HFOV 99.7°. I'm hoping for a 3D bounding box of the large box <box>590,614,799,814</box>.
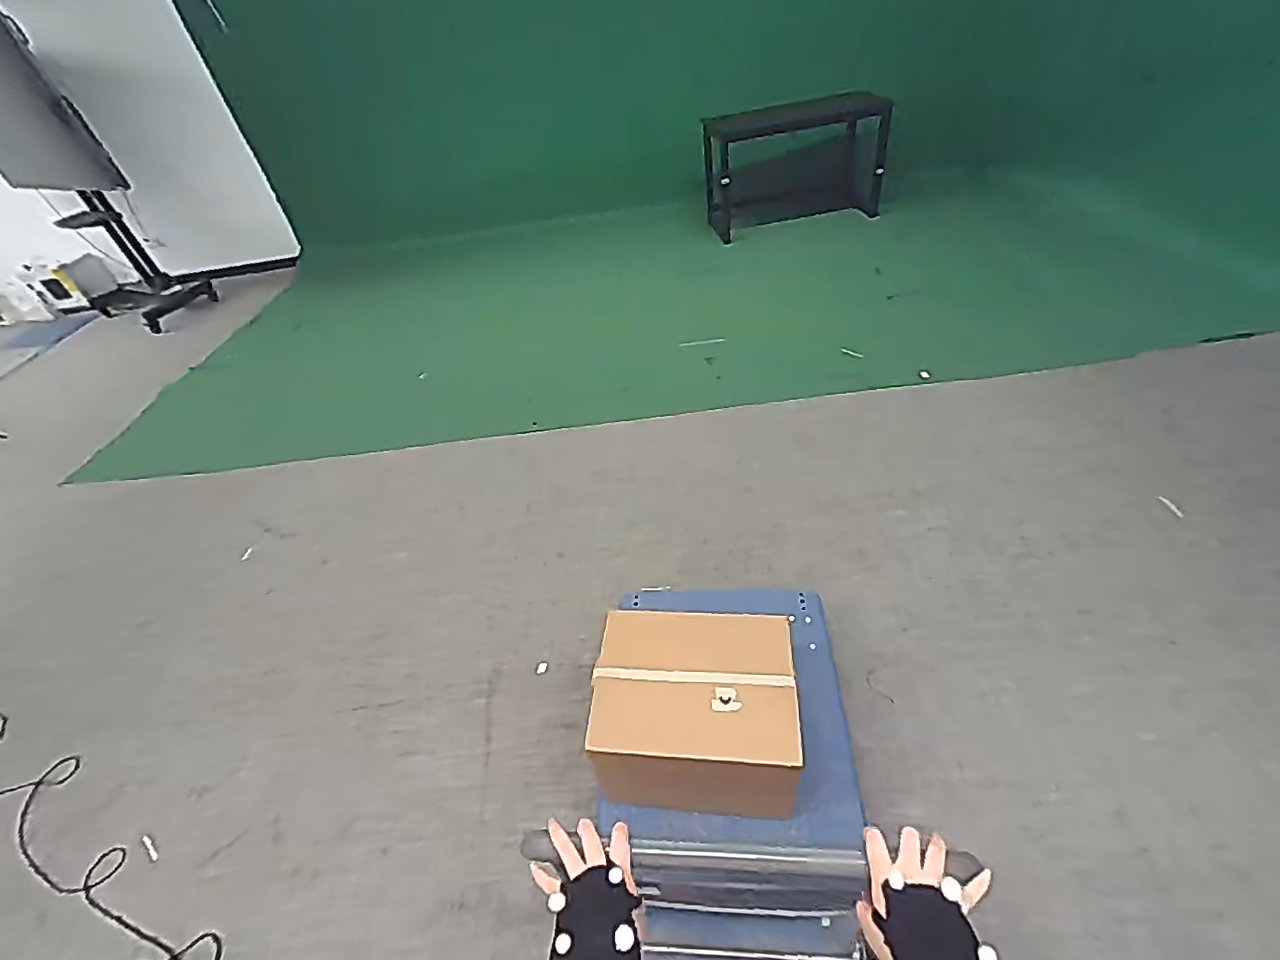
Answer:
[{"bbox_3d":[0.124,0.524,1.221,0.408,0.320,0.320,0,43,8],"label":"large box"}]
